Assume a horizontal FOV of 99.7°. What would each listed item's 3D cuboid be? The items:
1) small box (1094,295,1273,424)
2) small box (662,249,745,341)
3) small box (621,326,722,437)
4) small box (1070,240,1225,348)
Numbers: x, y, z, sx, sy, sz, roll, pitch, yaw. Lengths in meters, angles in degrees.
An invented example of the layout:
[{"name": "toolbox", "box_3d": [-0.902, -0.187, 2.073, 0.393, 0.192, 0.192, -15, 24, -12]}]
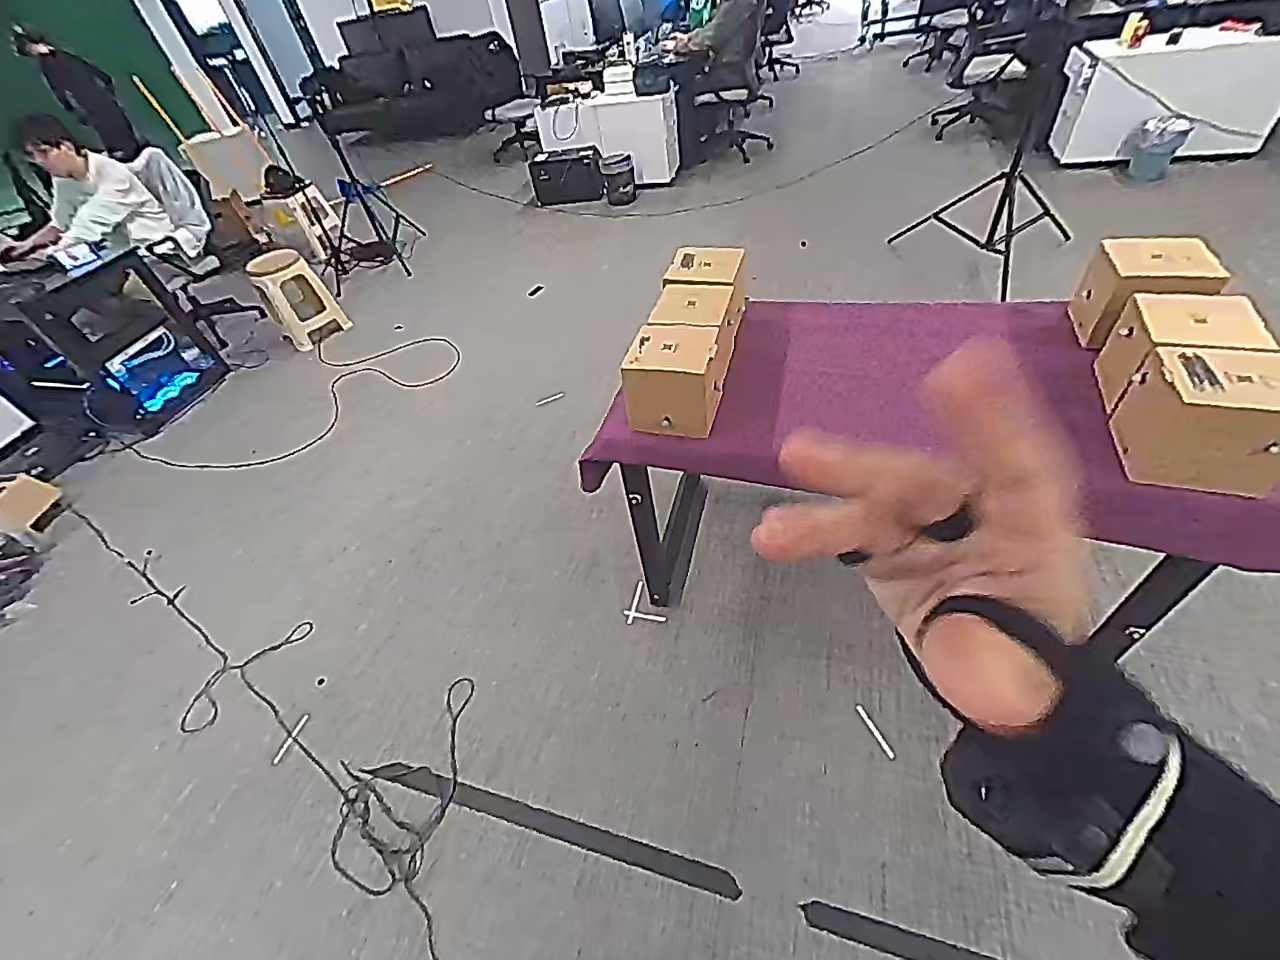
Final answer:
[{"name": "small box", "box_3d": [0.991, -0.224, 1.008, 0.168, 0.176, 0.179, 10, 48, 20]}, {"name": "small box", "box_3d": [0.169, -0.475, 1.397, 0.179, 0.176, 0.168, 9, 51, 17]}, {"name": "small box", "box_3d": [0.074, -0.210, 1.161, 0.179, 0.176, 0.168, 8, 48, 16]}, {"name": "small box", "box_3d": [1.052, -0.389, 1.145, 0.179, 0.176, 0.168, 8, 50, 17]}]
